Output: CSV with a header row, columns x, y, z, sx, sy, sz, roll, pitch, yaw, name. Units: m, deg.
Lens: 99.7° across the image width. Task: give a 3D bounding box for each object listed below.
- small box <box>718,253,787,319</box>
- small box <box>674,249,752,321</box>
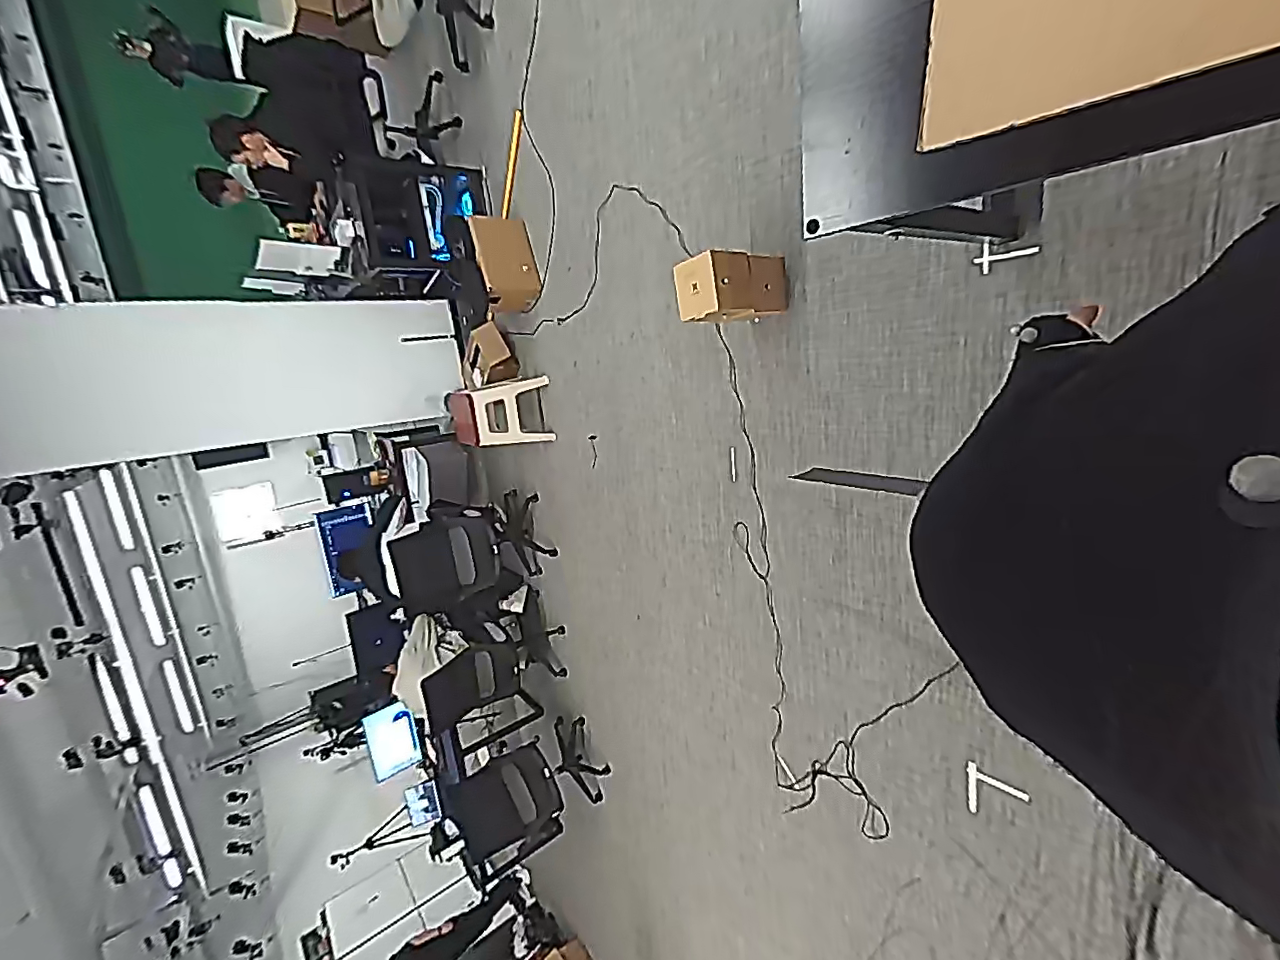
x,y,z,sx,sy,sz,roll,pitch,yaw,name
0.361,-0.631,1.774,0.168,0.176,0.179,6,107,53,small box
0.232,-0.602,1.679,0.168,0.176,0.179,0,101,52,small box
